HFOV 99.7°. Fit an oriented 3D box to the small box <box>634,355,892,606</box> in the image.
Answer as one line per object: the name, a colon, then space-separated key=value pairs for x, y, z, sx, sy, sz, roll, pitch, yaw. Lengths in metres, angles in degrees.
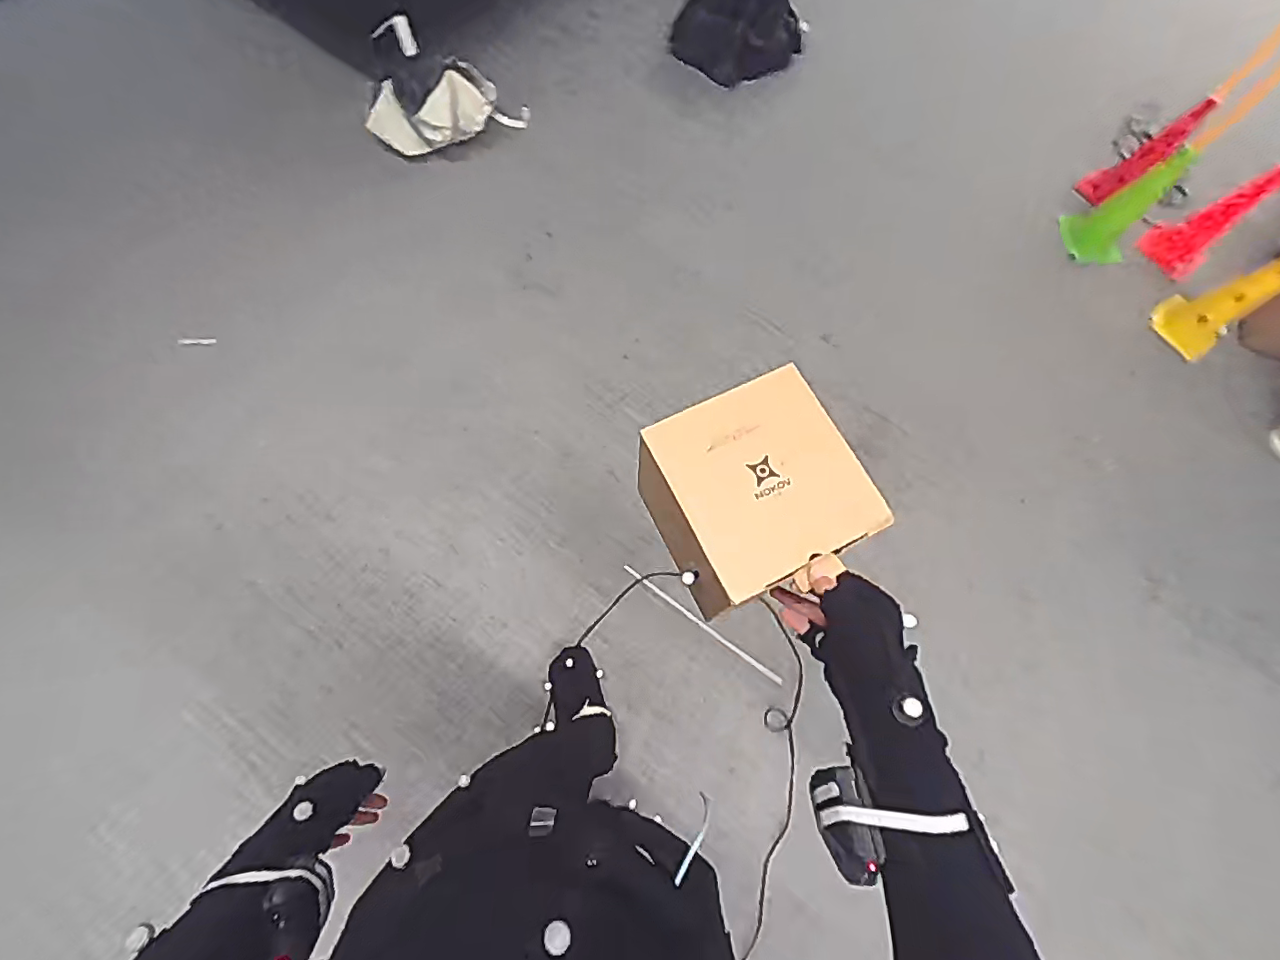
small box: x=0.104 y=0.015 z=0.542 sx=0.168 sy=0.176 sz=0.179 roll=-25 pitch=72 yaw=-9
